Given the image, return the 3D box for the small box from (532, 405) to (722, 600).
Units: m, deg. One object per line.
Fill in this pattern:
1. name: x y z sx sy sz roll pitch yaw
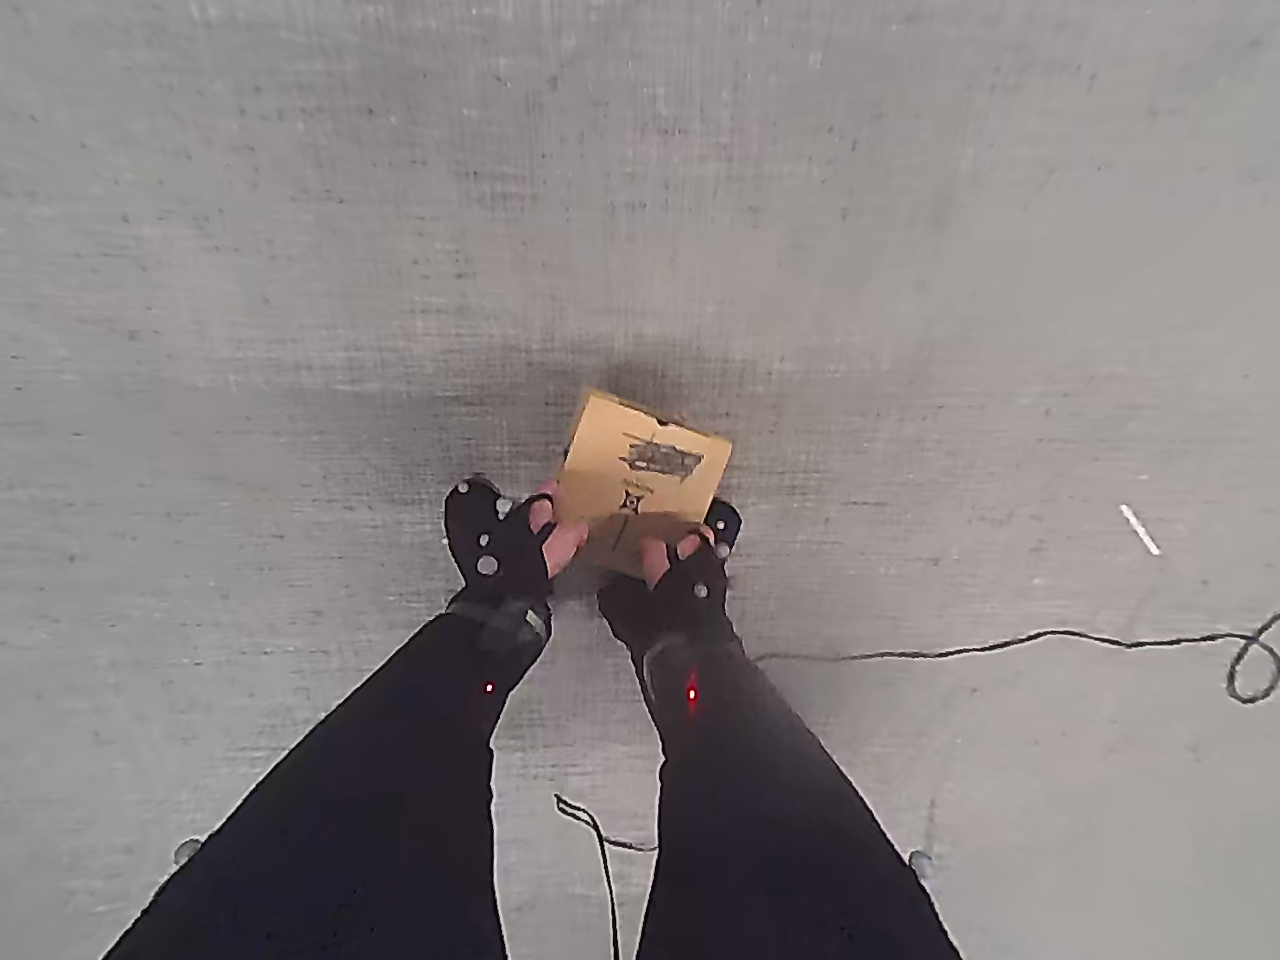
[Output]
1. small box: -0.025 0.015 0.663 0.168 0.176 0.179 19 98 -11
